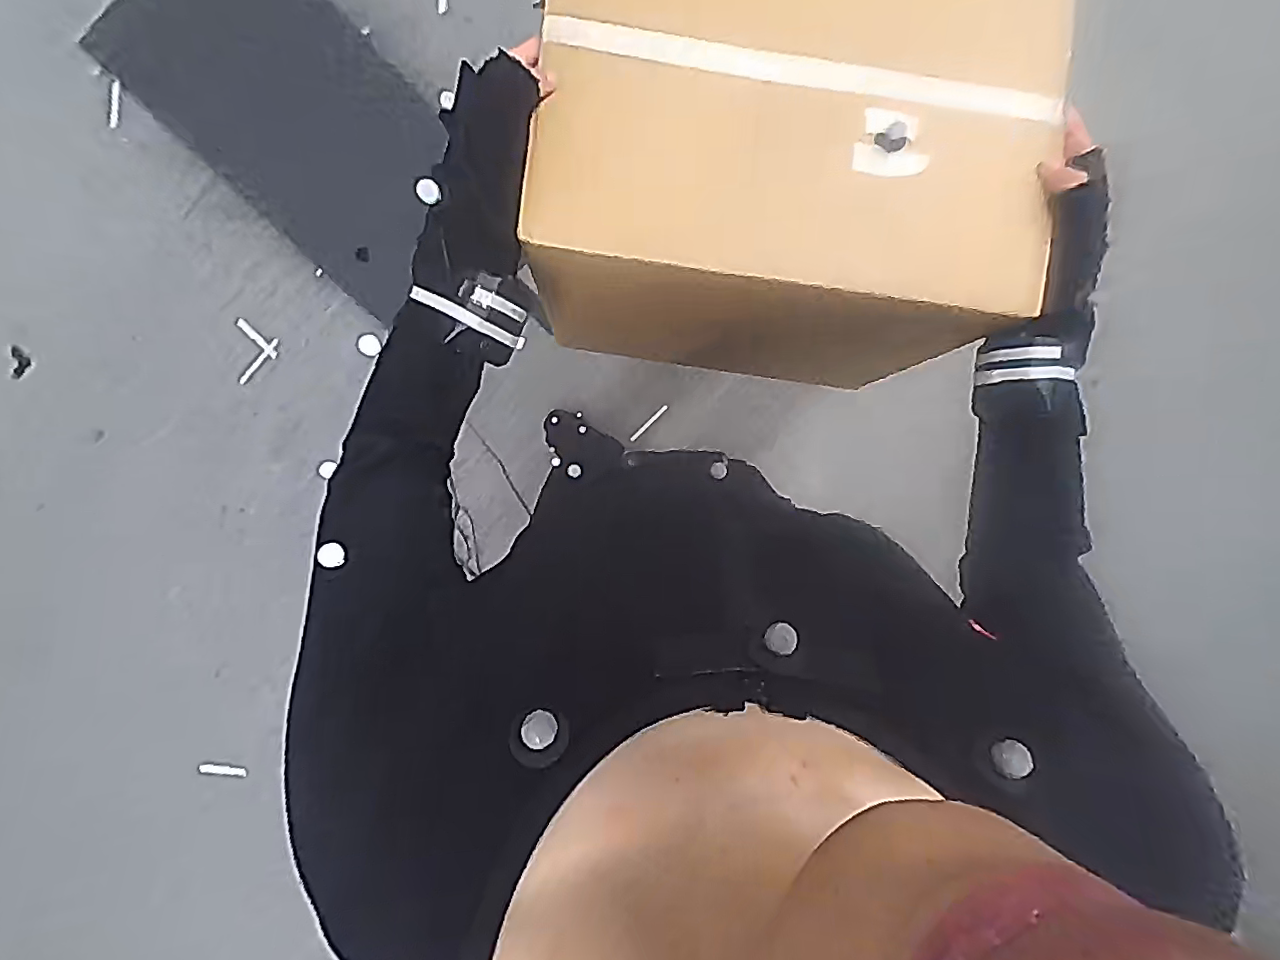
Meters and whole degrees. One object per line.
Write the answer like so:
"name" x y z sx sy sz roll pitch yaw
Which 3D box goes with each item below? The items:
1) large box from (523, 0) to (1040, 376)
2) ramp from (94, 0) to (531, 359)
"large box" 0.109 -0.312 0.576 0.408 0.320 0.320 6 89 -3
"ramp" -0.745 -0.831 1.346 0.991 0.206 0.509 43 94 -3
